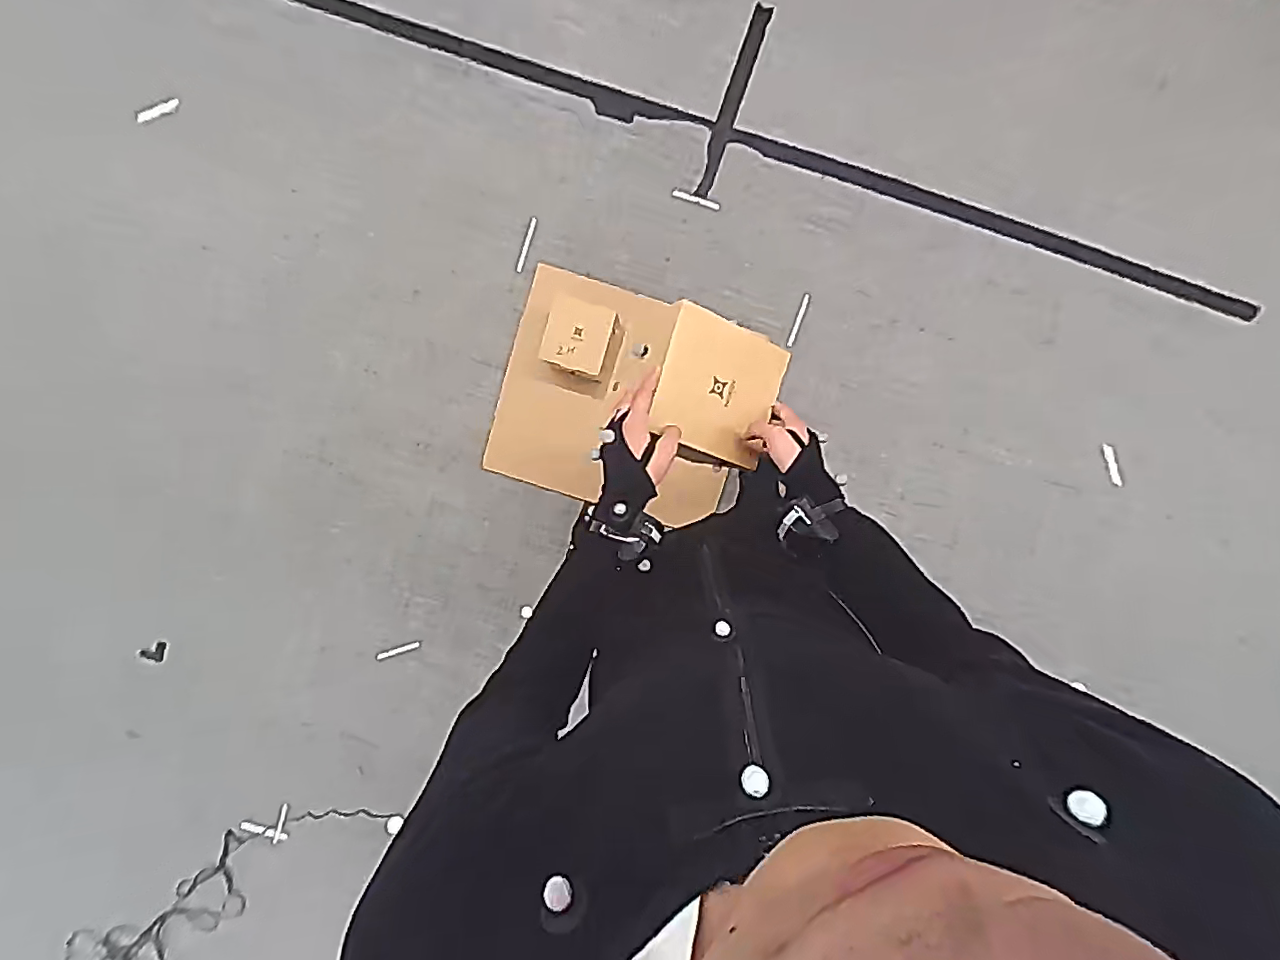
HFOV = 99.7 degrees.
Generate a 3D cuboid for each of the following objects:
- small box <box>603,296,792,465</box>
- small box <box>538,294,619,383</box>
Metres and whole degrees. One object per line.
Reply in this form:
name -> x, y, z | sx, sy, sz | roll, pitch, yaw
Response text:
small box -> 0.069, -0.127, 0.743 | 0.179, 0.176, 0.168 | 18, 90, -27
small box -> -0.159, -0.373, 1.458 | 0.168, 0.176, 0.179 | 17, 96, 0
